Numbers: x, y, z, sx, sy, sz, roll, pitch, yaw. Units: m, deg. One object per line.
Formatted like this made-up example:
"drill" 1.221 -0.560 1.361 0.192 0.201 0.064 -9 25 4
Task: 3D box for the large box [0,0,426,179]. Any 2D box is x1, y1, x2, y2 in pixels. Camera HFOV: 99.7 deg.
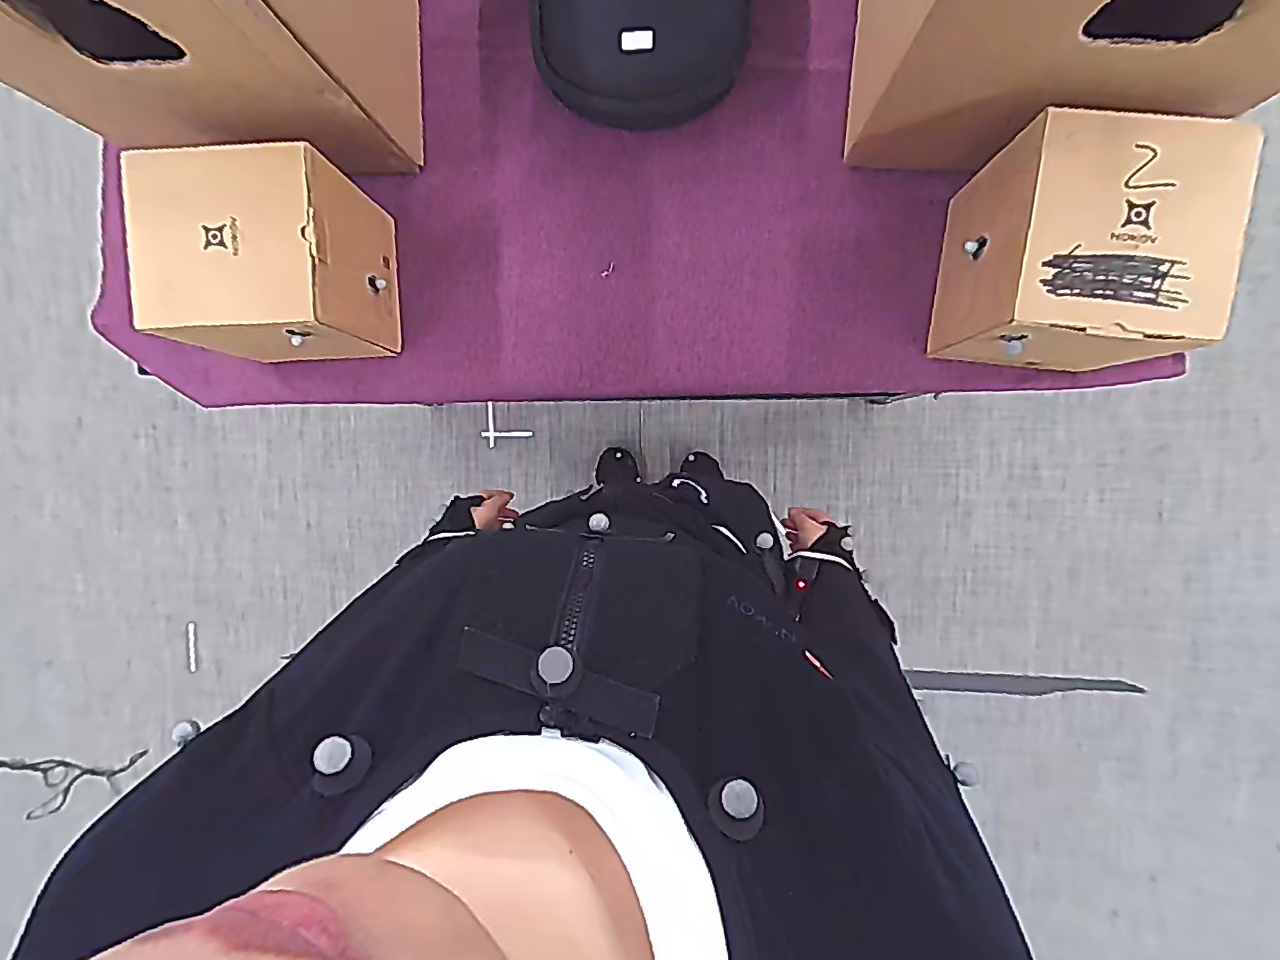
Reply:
"large box" -0.420 -0.557 0.501 0.320 0.320 0.408 -1 96 3
